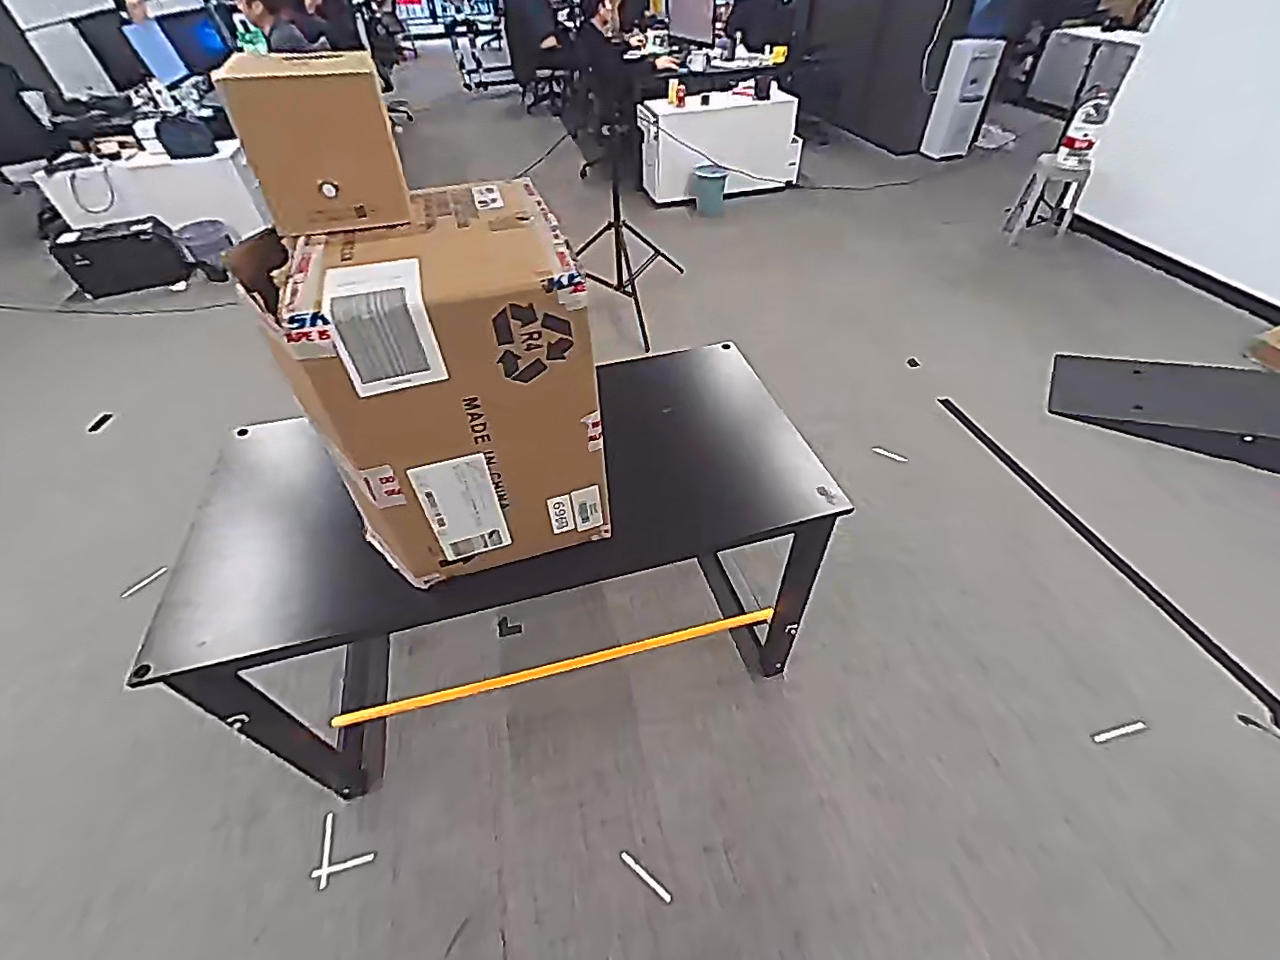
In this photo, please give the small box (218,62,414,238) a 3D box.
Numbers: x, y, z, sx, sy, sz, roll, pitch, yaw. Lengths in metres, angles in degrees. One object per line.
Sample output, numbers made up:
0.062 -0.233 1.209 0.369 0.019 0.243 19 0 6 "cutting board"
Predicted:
-0.409 -0.437 0.715 0.168 0.176 0.179 -14 45 -15 "small box"
